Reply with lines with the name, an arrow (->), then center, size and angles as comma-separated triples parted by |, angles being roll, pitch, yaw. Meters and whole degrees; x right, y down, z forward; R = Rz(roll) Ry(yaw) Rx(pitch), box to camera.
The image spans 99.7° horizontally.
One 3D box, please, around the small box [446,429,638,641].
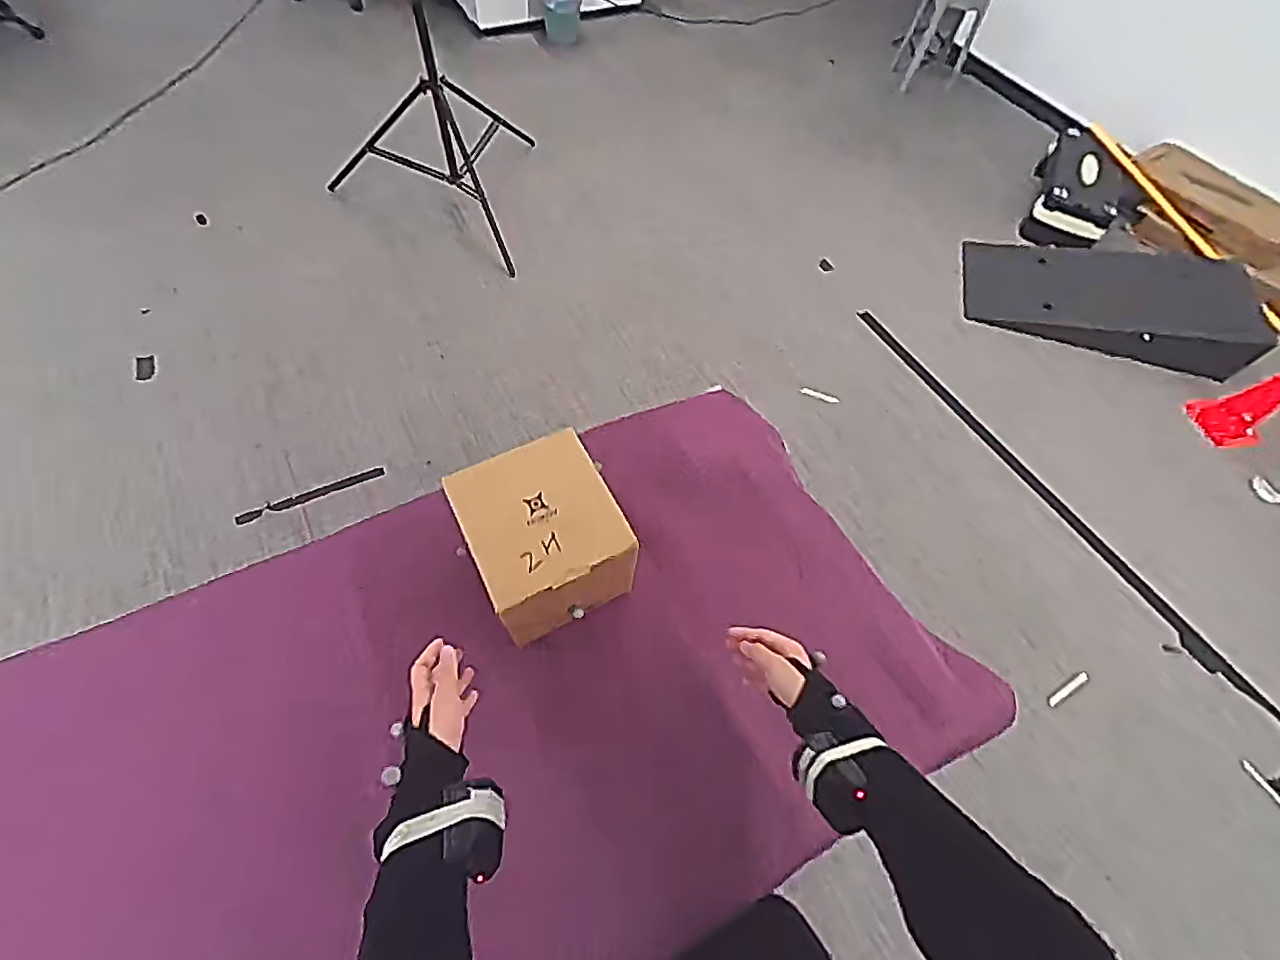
small box -> -0.118, 0.073, 0.672 | 0.168, 0.176, 0.179 | -24, 66, -16
